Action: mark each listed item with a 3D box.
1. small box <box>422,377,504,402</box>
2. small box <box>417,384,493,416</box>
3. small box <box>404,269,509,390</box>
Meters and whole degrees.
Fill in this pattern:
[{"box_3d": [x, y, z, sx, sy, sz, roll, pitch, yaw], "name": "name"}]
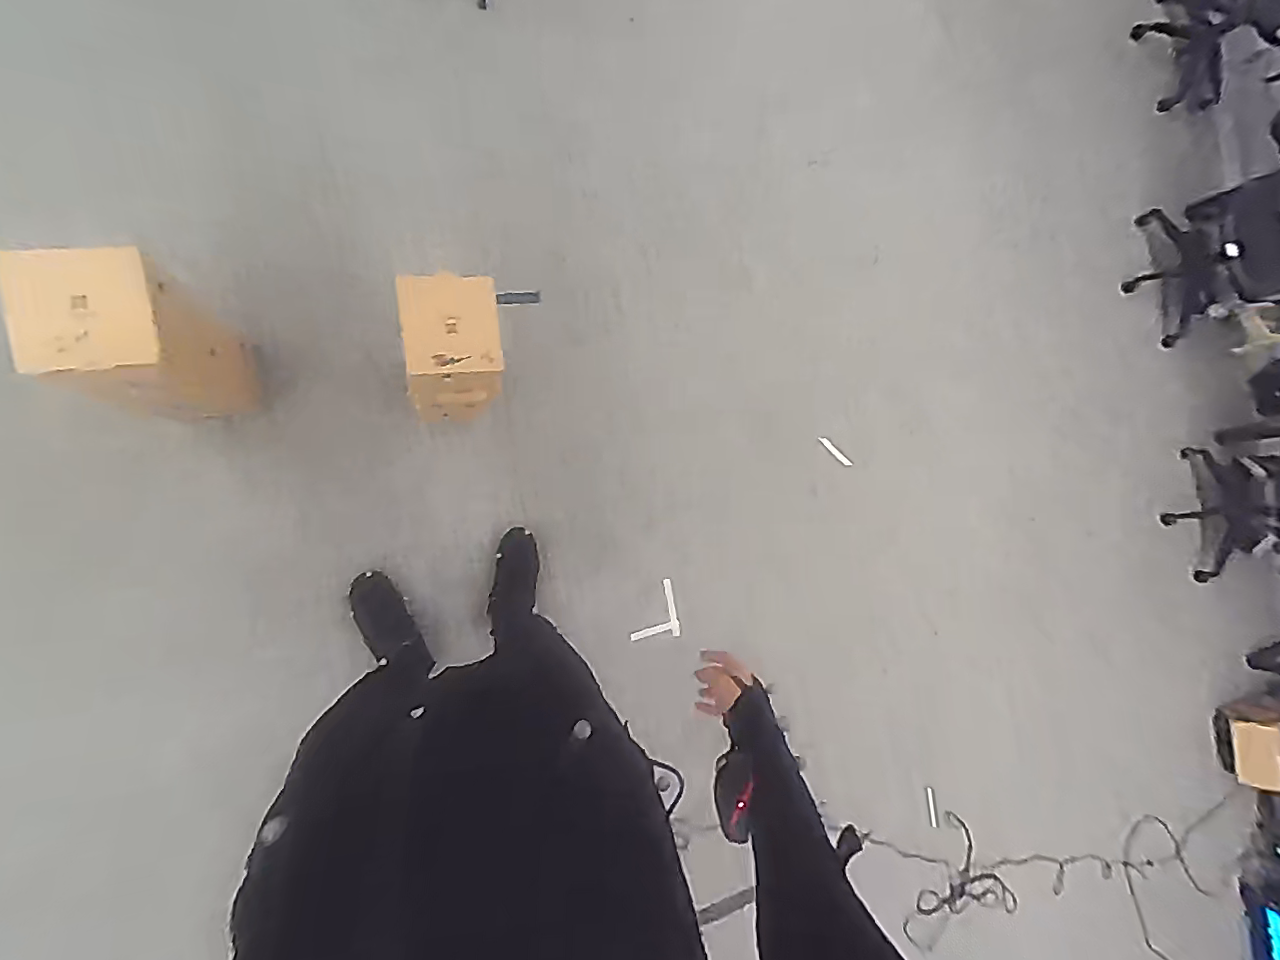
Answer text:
[{"box_3d": [-0.398, -0.270, 1.188, 0.168, 0.176, 0.179, -6, 89, -22], "name": "small box"}, {"box_3d": [-0.464, -0.260, 1.338, 0.168, 0.176, 0.179, -6, 90, -22], "name": "small box"}, {"box_3d": [-0.352, -0.278, 1.029, 0.168, 0.176, 0.179, -6, 89, -21], "name": "small box"}]
